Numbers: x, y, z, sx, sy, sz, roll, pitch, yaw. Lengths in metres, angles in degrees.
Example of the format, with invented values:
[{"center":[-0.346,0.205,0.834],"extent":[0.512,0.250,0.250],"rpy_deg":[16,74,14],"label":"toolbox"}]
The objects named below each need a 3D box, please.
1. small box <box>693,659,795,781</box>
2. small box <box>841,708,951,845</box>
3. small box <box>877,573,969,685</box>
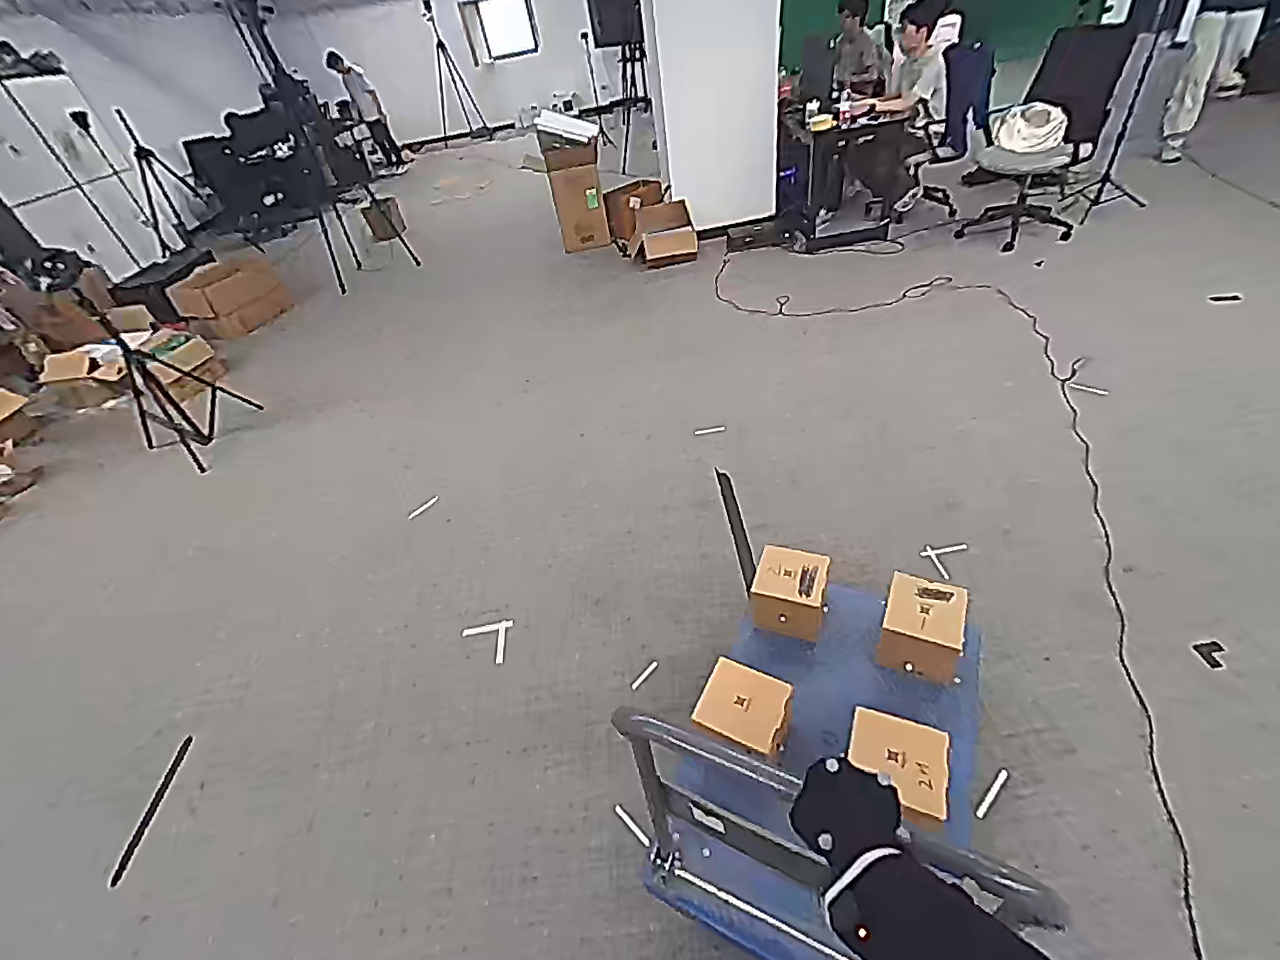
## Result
[{"center":[0.238,0.547,1.229],"extent":[0.179,0.176,0.168],"rpy_deg":[15,47,27],"label":"small box"},{"center":[0.513,0.602,1.097],"extent":[0.179,0.176,0.168],"rpy_deg":[10,45,24],"label":"small box"},{"center":[0.690,0.366,1.327],"extent":[0.168,0.176,0.179],"rpy_deg":[13,47,26],"label":"small box"}]
